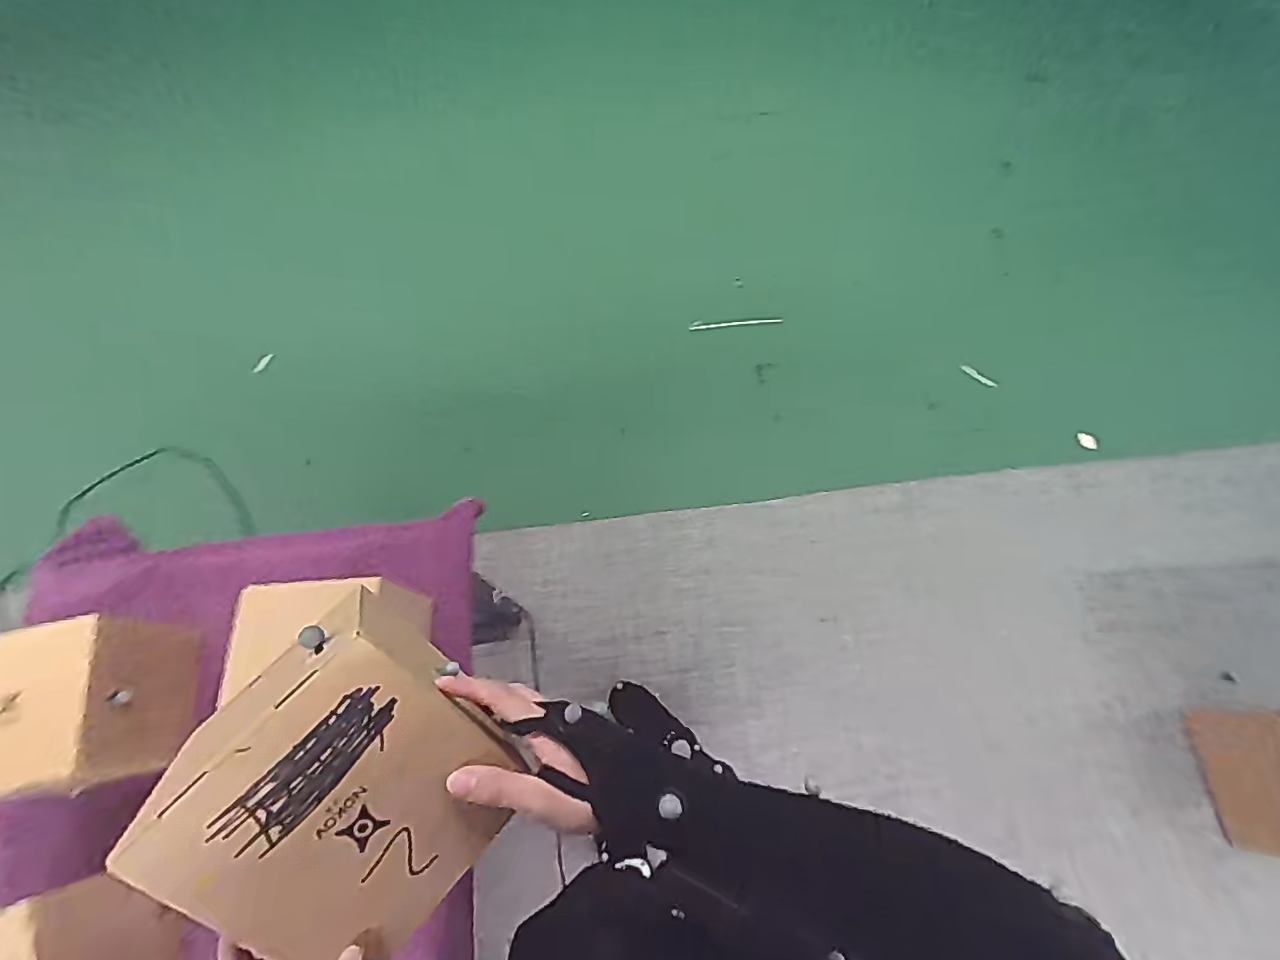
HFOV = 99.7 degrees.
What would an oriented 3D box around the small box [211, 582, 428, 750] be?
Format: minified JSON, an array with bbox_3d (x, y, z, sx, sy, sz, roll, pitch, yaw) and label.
[{"bbox_3d":[-0.385,0.236,0.687,0.168,0.176,0.179,-4,69,1],"label":"small box"}]

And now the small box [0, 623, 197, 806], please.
[{"bbox_3d":[-0.698,0.291,0.674,0.168,0.176,0.179,-12,70,-5],"label":"small box"}]

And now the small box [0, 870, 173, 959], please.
[{"bbox_3d":[-0.637,0.554,0.565,0.179,0.176,0.168,-26,70,-9],"label":"small box"}]
